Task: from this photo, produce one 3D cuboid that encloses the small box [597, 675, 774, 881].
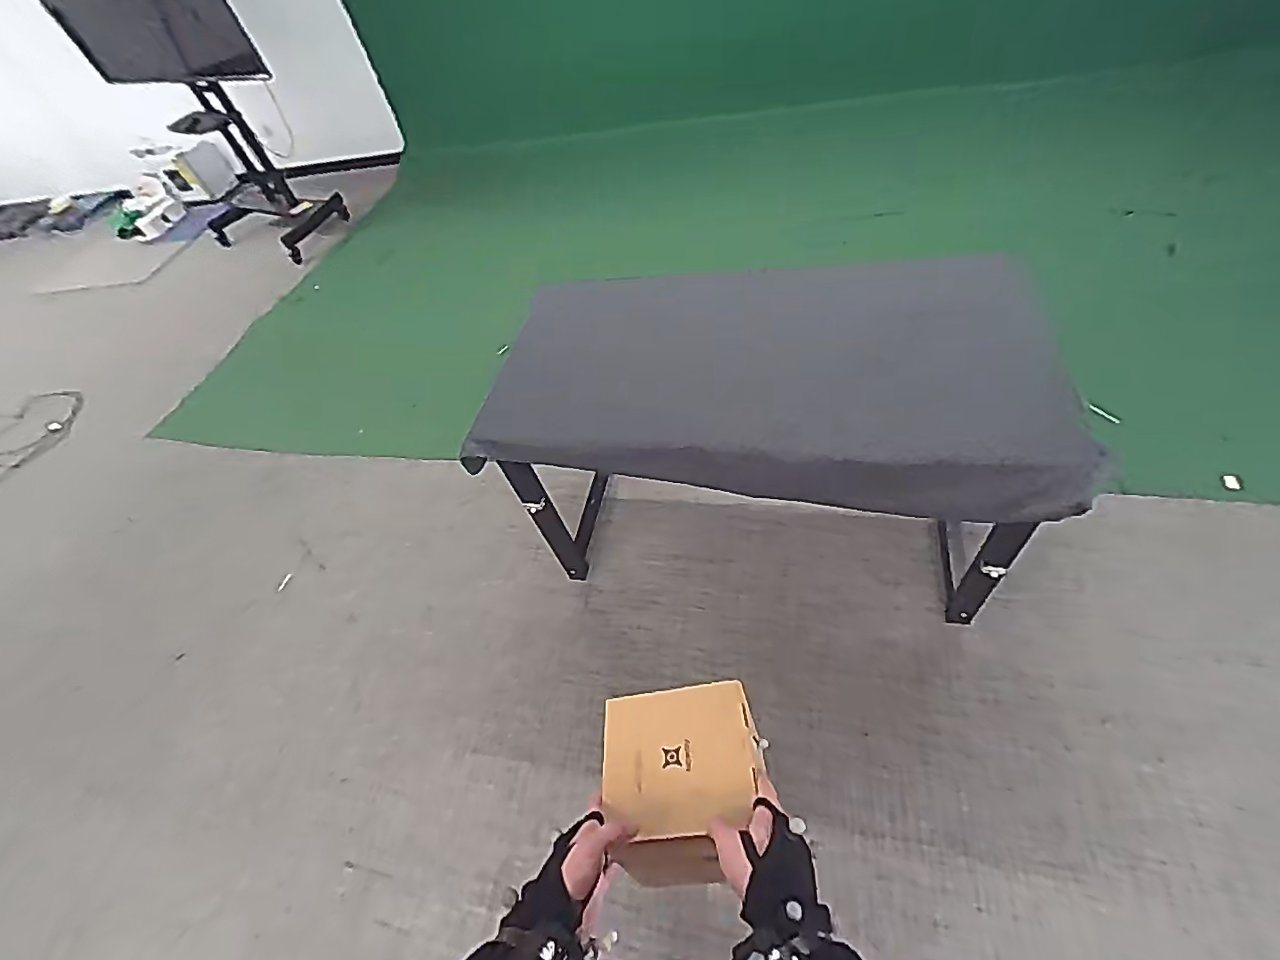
[{"bbox_3d":[0.061,0.364,0.659,0.179,0.176,0.168,-12,37,11],"label":"small box"}]
